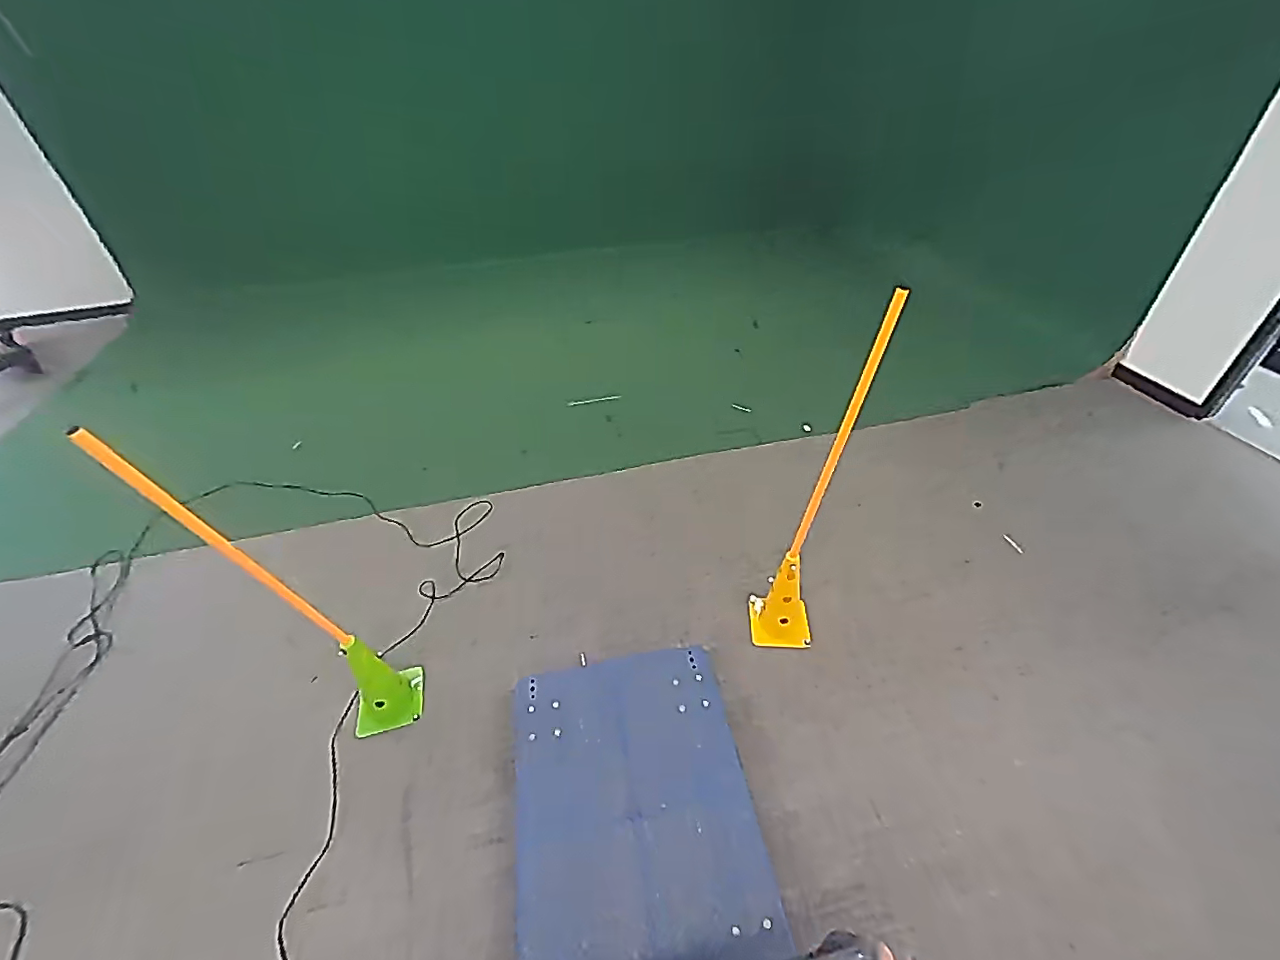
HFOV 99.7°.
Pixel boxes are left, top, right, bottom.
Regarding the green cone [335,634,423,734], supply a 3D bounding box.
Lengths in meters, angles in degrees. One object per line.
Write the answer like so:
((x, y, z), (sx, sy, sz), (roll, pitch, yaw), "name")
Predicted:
((-0.827, 0.582, 1.652), (0.202, 0.368, 0.200), (-14, 42, -9), "green cone")
